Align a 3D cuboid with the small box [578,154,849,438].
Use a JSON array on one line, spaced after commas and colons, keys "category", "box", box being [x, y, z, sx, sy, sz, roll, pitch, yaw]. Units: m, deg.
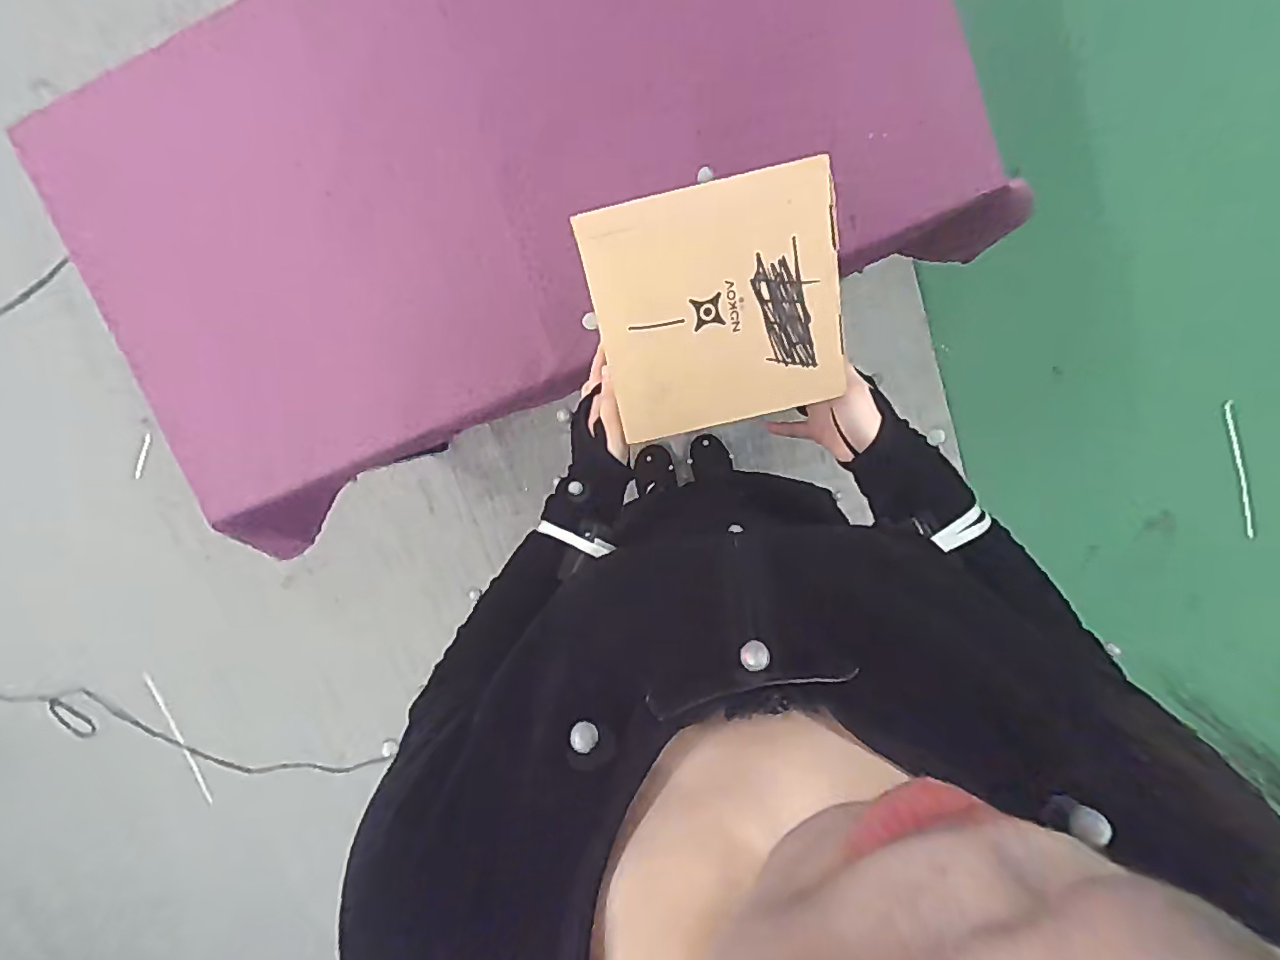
[{"category": "small box", "box": [0.054, -0.151, 0.454, 0.179, 0.176, 0.168, -12, 111, 3]}]
